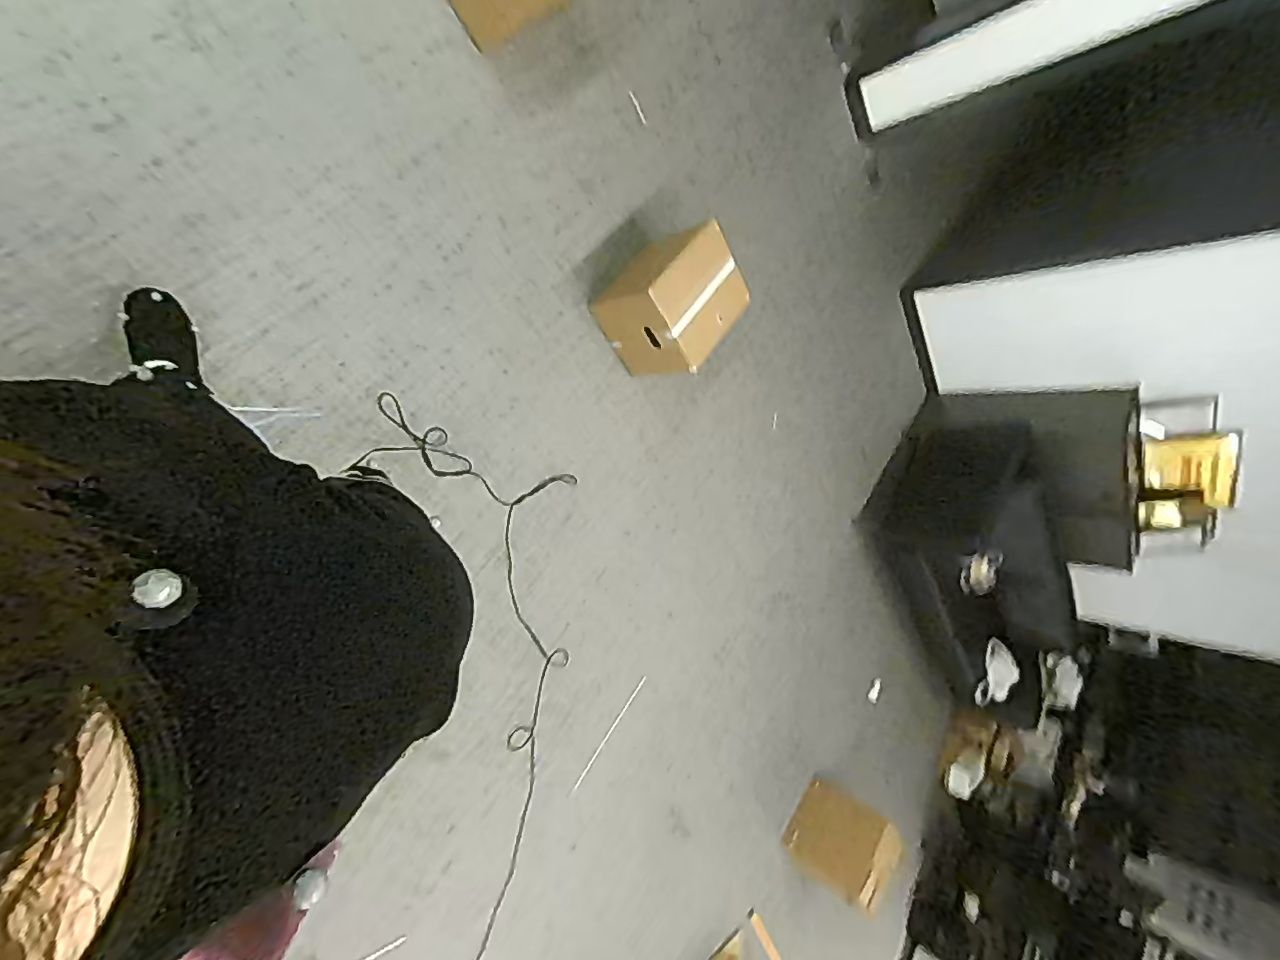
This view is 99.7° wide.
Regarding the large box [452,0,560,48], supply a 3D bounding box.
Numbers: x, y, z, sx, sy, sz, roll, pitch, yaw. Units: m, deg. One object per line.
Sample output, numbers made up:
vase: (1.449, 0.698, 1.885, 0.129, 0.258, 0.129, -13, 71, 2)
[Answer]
large box: (-0.318, -1.435, 1.395, 0.408, 0.320, 0.320, -54, 125, -24)
